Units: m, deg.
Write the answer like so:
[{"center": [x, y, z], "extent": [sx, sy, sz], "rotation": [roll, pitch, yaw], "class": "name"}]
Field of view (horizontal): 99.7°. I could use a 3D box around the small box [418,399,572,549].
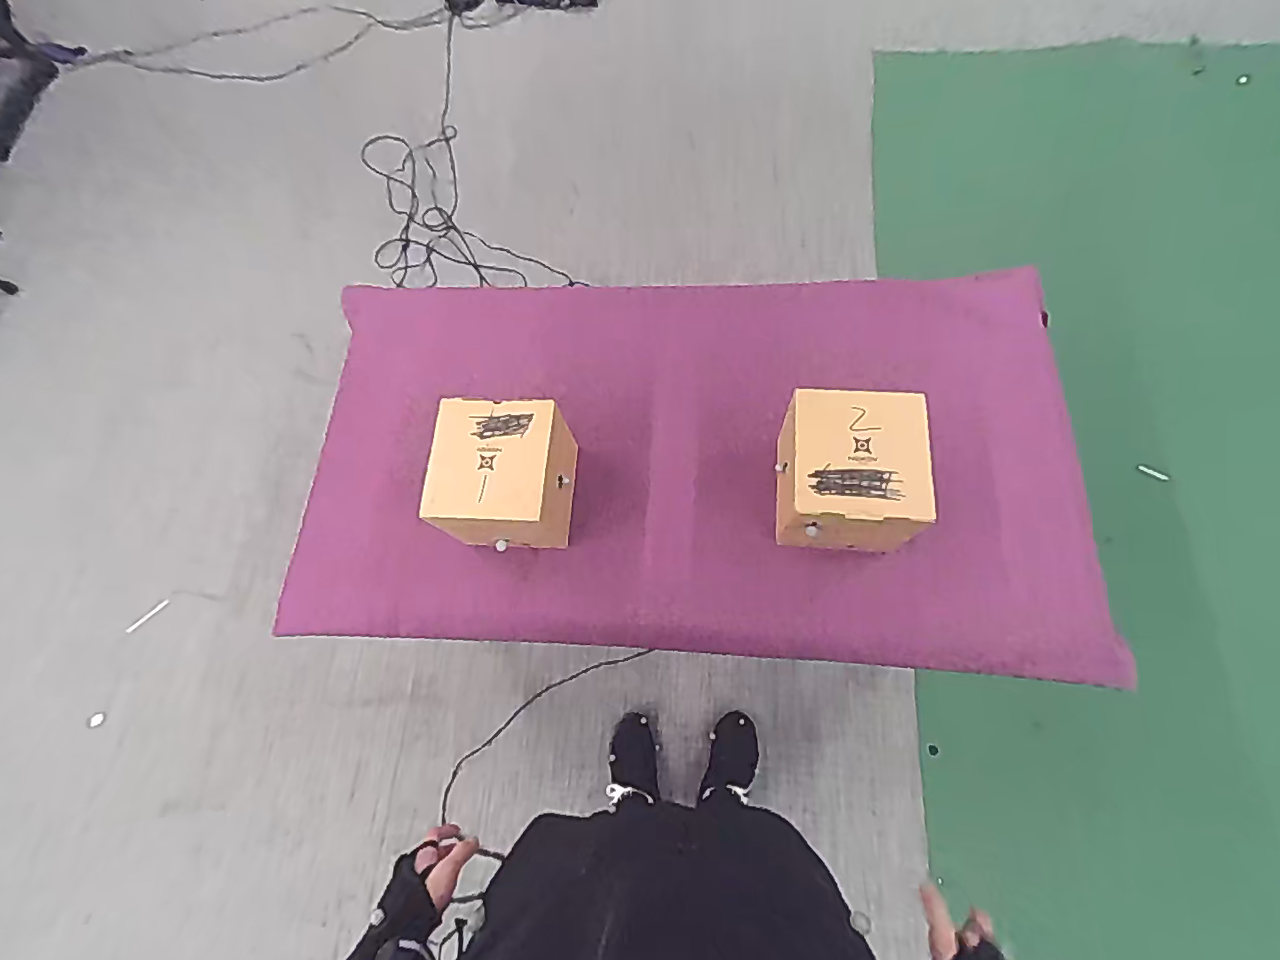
[{"center": [-0.201, -0.004, 0.805], "extent": [0.168, 0.176, 0.179], "rotation": [2, 71, 6], "class": "small box"}]
